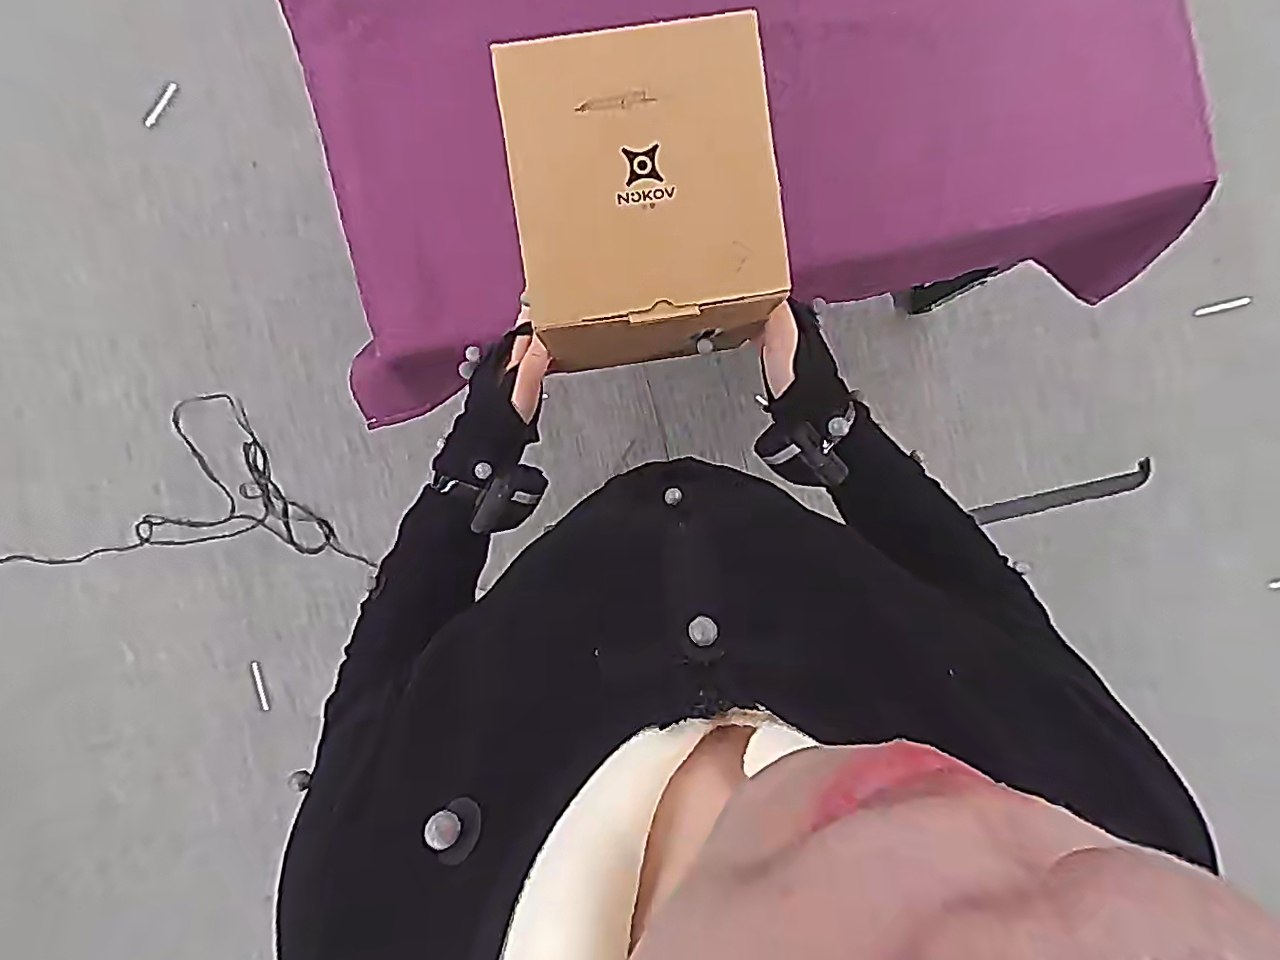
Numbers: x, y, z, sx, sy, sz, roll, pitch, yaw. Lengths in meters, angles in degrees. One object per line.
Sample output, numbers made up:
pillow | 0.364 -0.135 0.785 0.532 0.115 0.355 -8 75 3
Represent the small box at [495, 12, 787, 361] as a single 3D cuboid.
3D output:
small box | 0.001 -0.193 0.413 0.168 0.176 0.179 -8 92 -1
